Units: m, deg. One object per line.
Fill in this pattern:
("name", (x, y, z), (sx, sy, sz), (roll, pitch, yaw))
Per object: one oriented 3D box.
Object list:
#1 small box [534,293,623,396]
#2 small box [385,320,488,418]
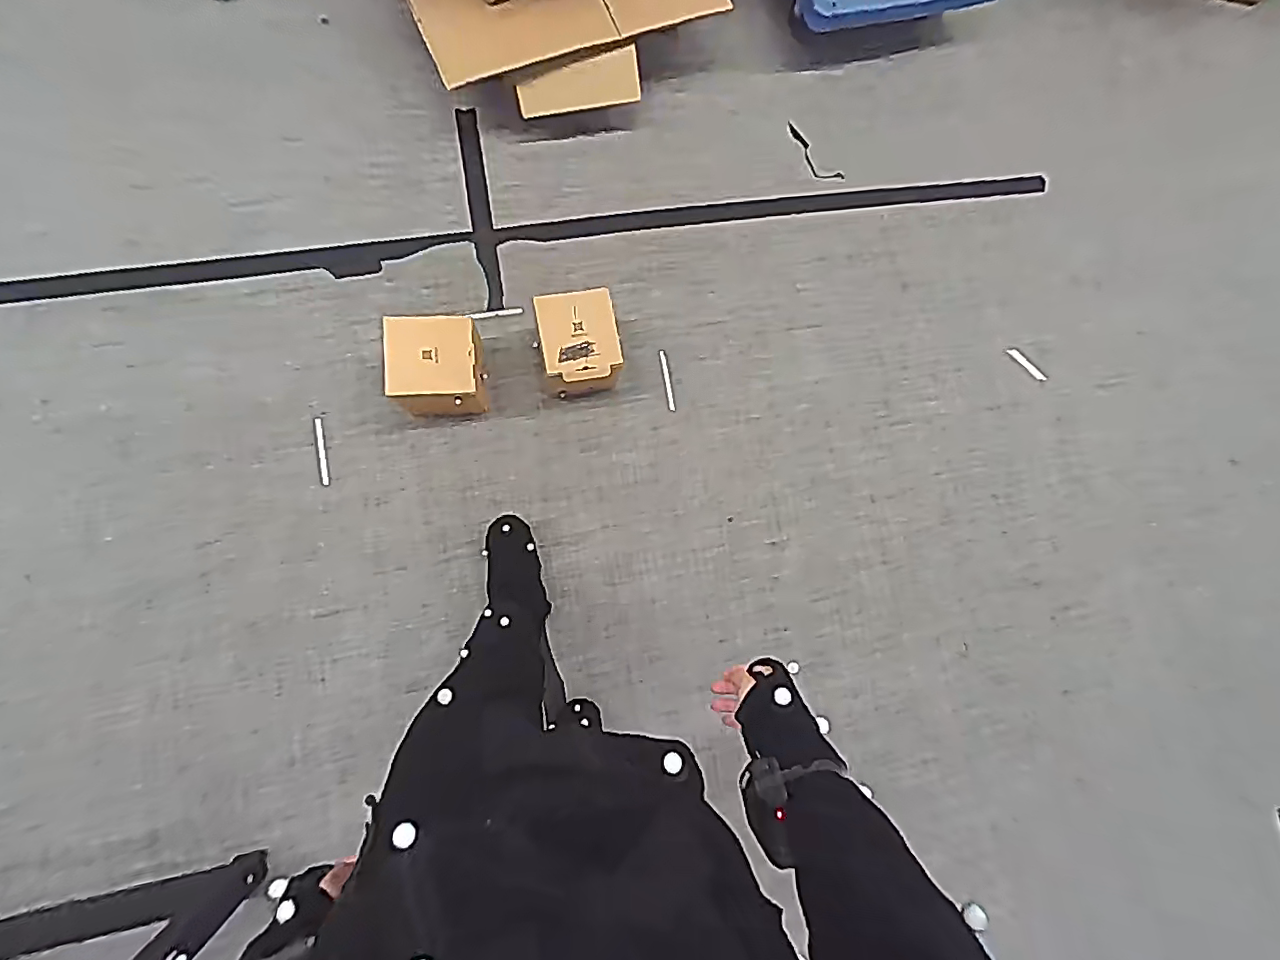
("small box", (-0.140, -0.296, 1.217), (0.168, 0.176, 0.179), (-11, 84, -11))
("small box", (-0.432, -0.232, 1.164), (0.179, 0.176, 0.168), (-4, 84, -9))
